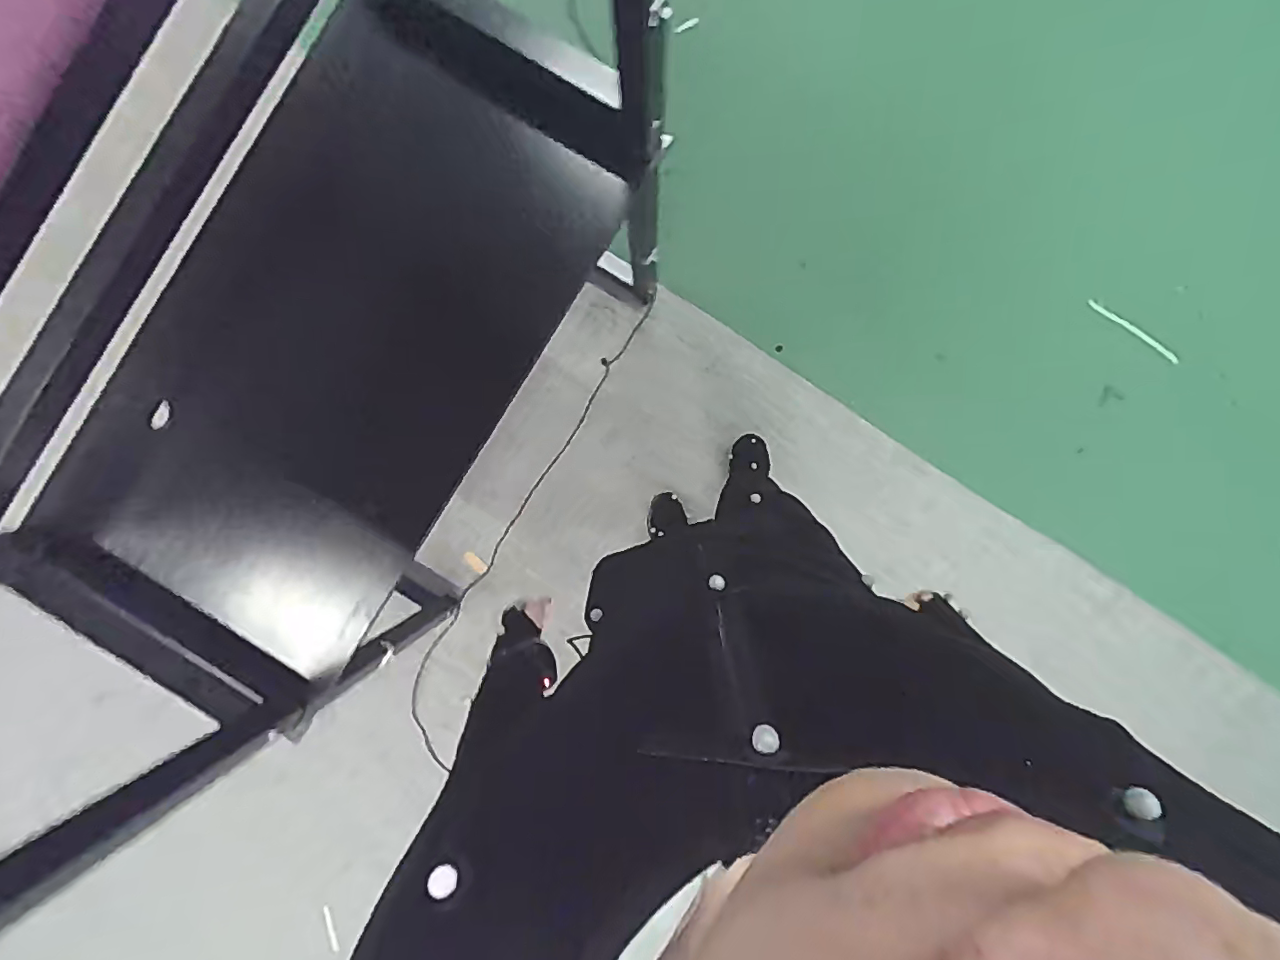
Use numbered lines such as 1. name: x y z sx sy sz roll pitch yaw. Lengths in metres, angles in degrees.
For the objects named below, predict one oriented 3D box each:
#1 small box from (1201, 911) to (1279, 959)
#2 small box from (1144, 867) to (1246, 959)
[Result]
1. small box: 1.577 1.229 1.332 0.179 0.176 0.168 38 91 0
2. small box: 1.576 1.228 1.497 0.179 0.176 0.168 33 93 1
